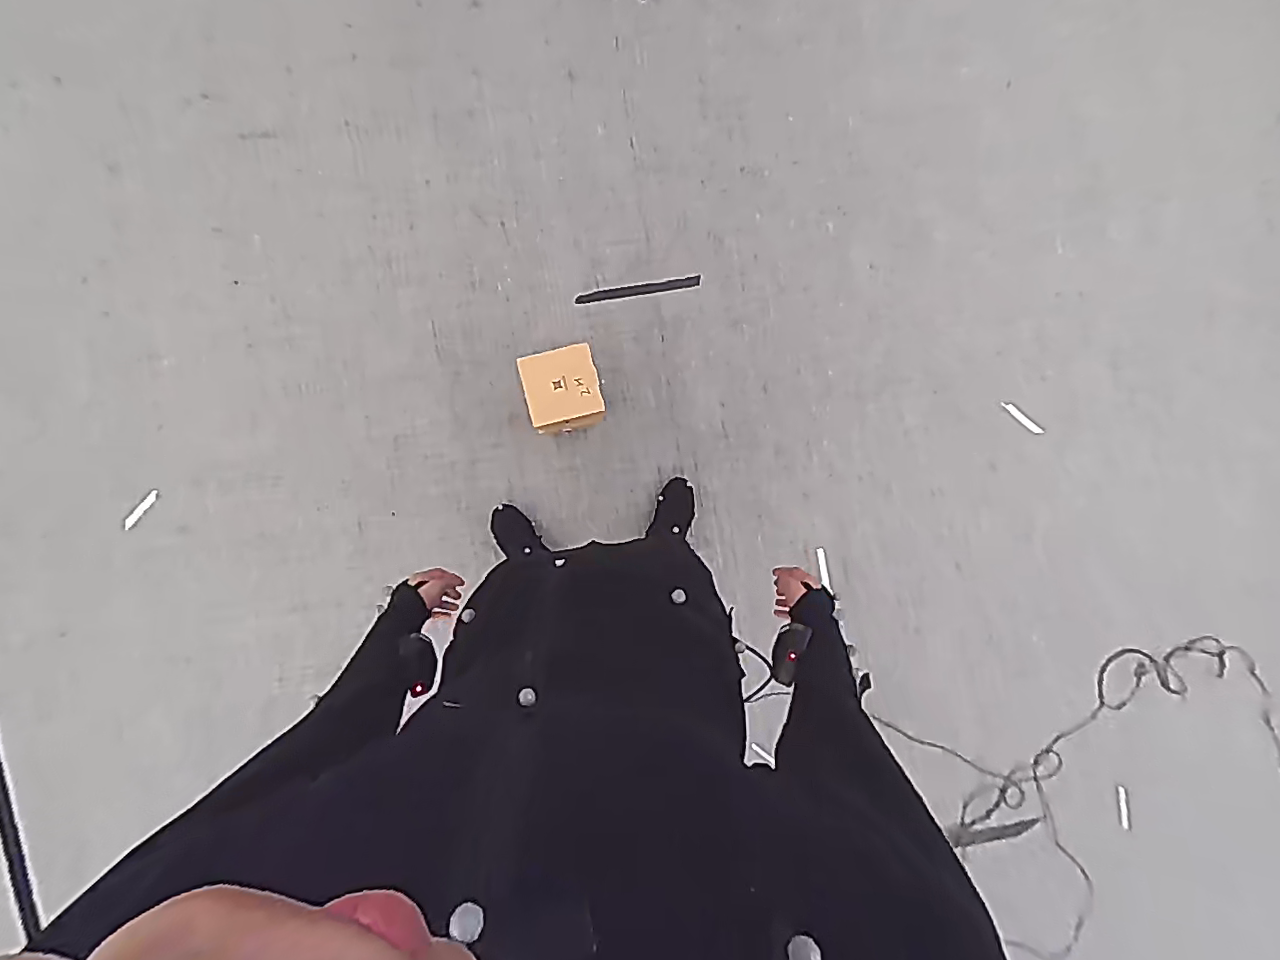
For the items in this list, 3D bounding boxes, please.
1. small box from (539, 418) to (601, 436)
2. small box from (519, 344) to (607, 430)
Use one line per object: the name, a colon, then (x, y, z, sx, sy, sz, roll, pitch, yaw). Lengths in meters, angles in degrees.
small box: (-0.205, -0.225, 1.499, 0.168, 0.176, 0.179, -13, 94, -2)
small box: (-0.183, -0.222, 1.336, 0.179, 0.176, 0.168, -14, 94, -2)
